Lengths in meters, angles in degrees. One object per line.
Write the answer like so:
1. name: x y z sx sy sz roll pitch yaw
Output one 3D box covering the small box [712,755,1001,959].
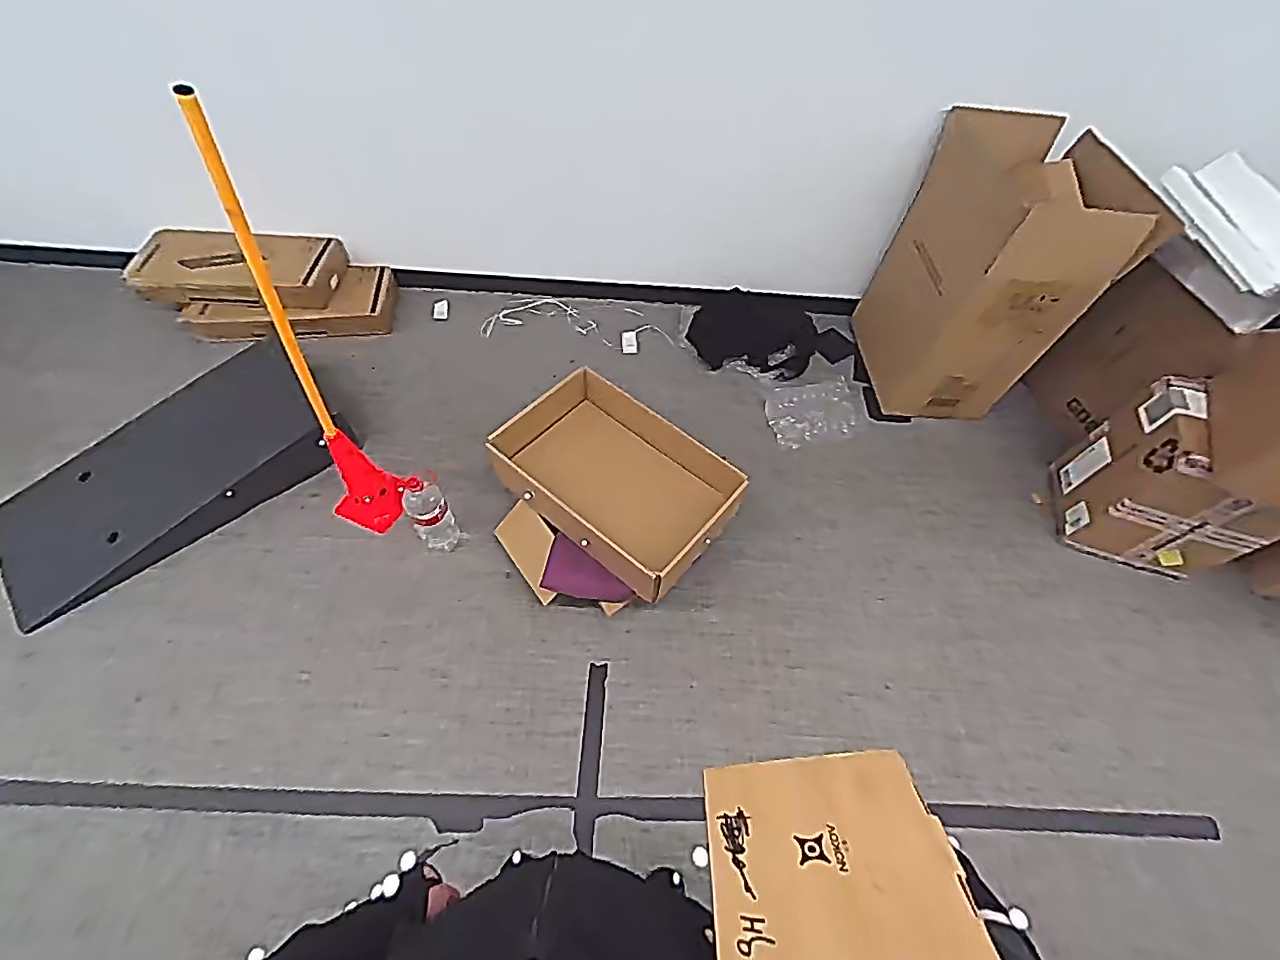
1. small box: 0.160 0.362 0.445 0.179 0.176 0.168 -9 19 6
